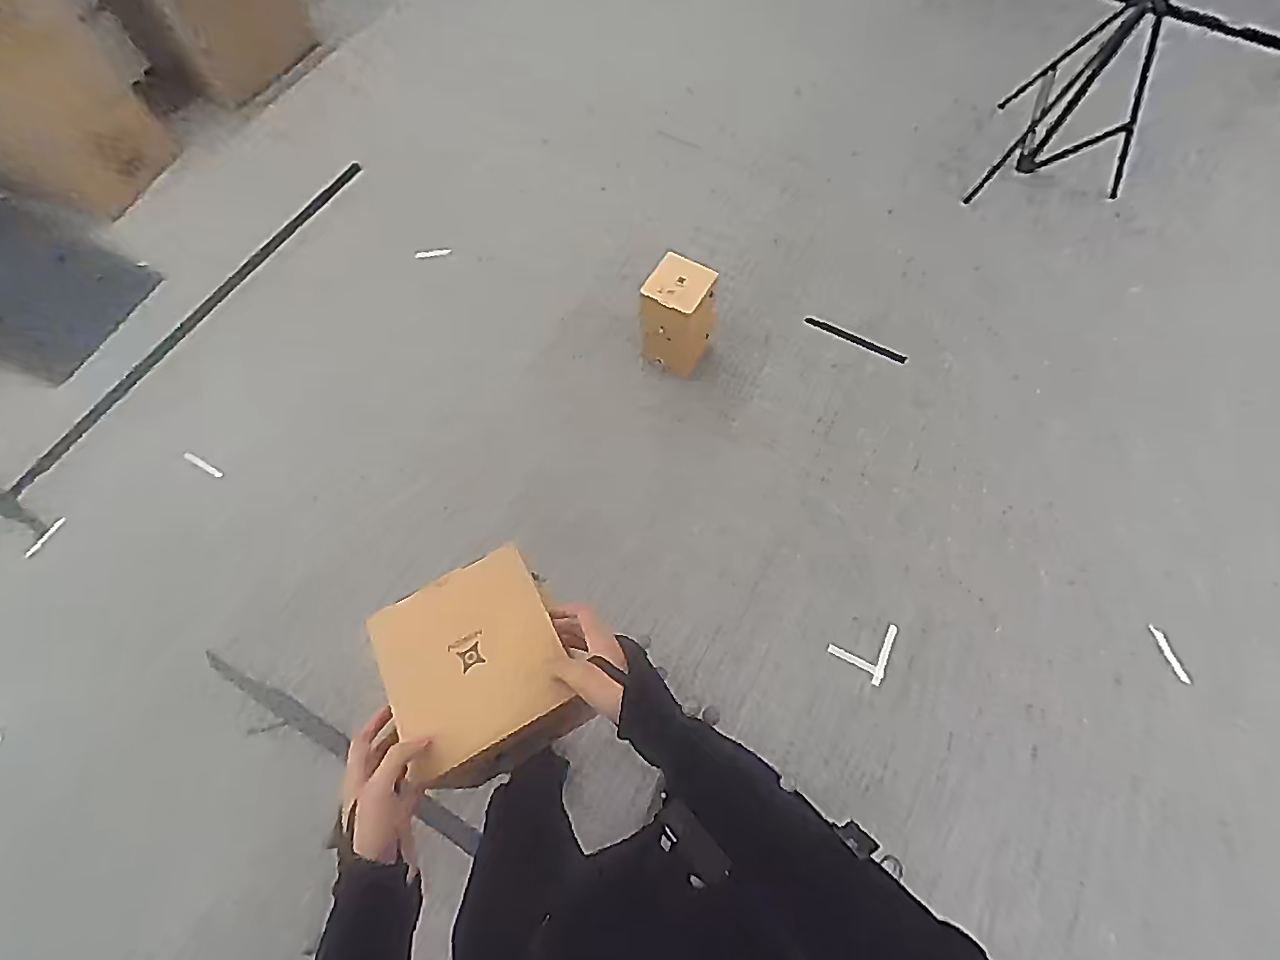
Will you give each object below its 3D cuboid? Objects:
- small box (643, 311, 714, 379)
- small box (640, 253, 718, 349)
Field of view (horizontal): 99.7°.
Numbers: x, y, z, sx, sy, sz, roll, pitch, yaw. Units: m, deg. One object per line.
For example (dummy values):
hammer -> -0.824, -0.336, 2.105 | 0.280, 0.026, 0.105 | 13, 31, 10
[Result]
small box -> 0.117, -0.464, 1.752 | 0.168, 0.176, 0.179 | 30, 71, 12
small box -> 0.109, -0.525, 1.600 | 0.168, 0.176, 0.179 | 29, 71, 12
